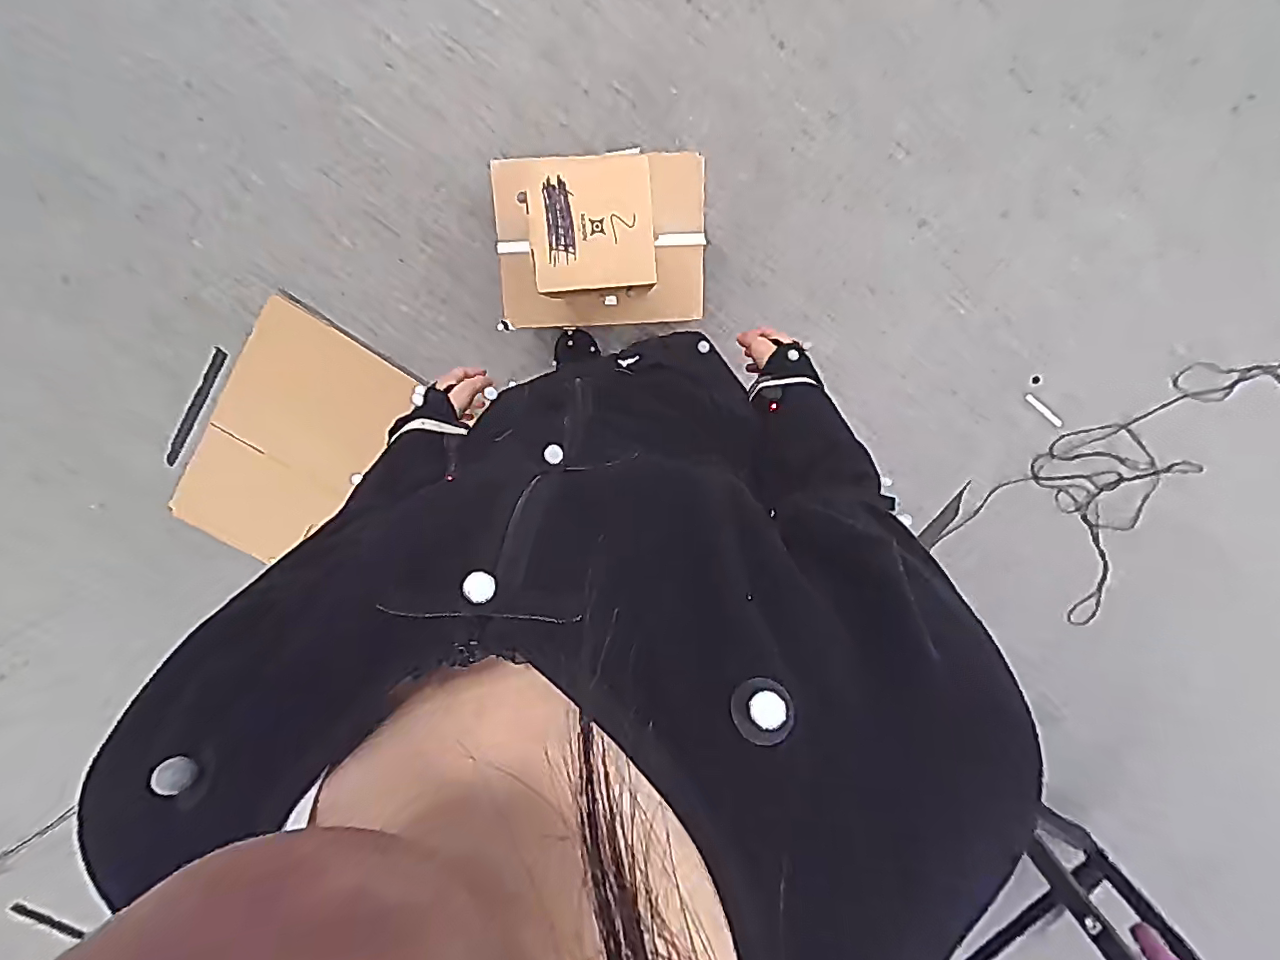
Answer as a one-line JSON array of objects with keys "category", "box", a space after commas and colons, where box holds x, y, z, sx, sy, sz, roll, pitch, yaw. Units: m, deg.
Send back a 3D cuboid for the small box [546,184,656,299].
[{"category": "small box", "box": [-0.065, -0.424, 0.984, 0.179, 0.176, 0.168, -5, 107, -1]}]
